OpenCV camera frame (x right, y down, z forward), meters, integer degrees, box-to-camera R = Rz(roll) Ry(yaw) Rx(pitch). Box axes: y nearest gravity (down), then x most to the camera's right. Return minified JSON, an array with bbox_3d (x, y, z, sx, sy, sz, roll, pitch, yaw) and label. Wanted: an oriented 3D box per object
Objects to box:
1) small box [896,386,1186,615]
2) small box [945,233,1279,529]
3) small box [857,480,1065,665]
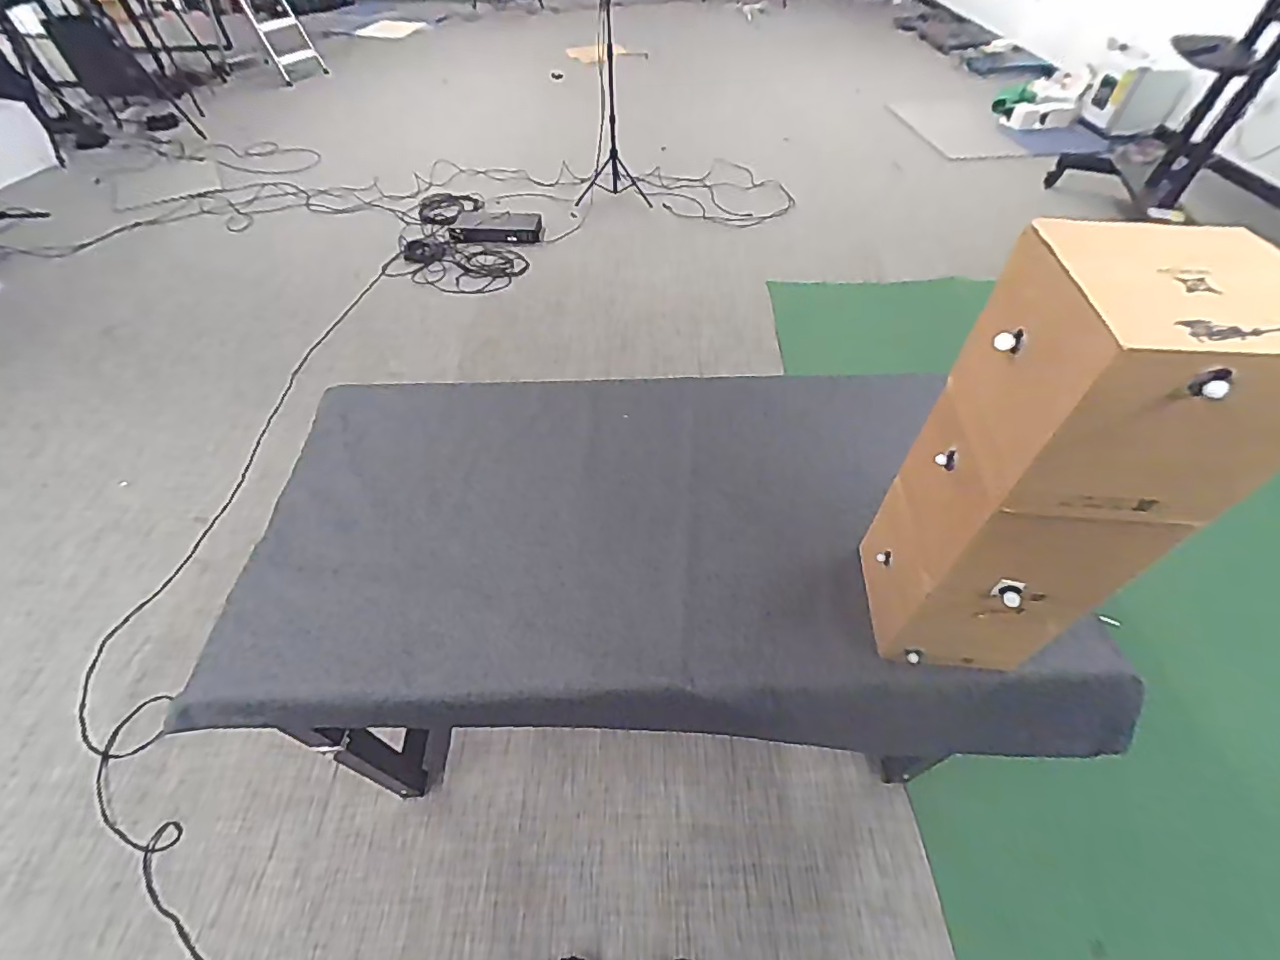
[{"bbox_3d":[0.394,0.022,0.579,0.168,0.176,0.179,4,51,6],"label":"small box"},{"bbox_3d":[0.385,-0.083,0.453,0.168,0.176,0.179,4,49,6],"label":"small box"},{"bbox_3d":[0.398,0.123,0.704,0.168,0.176,0.179,5,49,5],"label":"small box"}]
